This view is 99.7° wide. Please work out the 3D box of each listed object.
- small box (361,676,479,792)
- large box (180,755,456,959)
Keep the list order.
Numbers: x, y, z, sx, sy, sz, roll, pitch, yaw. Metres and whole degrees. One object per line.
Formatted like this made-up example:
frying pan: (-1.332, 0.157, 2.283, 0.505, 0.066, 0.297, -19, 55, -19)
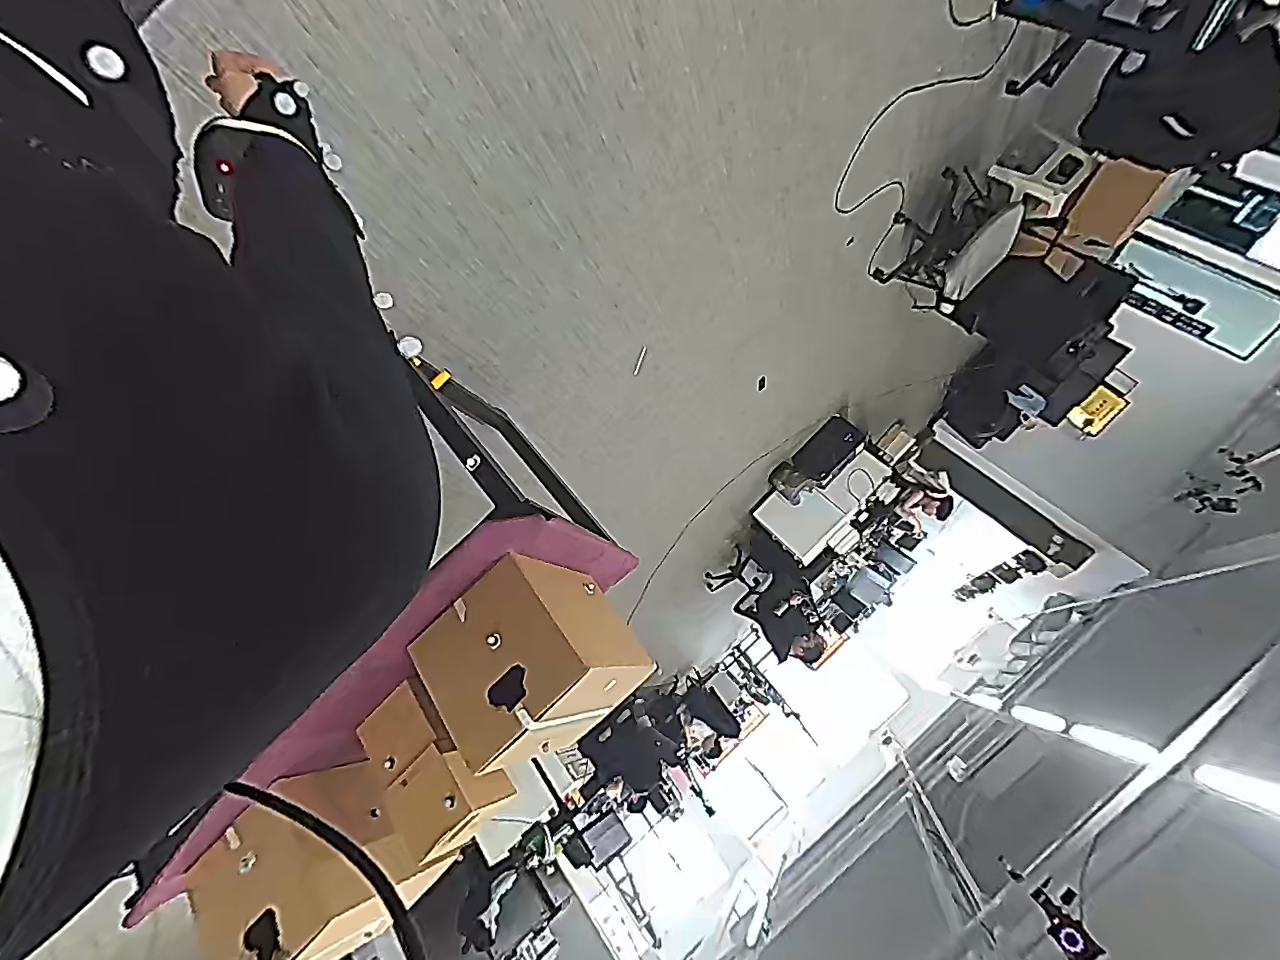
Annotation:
small box: (-0.524, 0.590, 1.278, 0.179, 0.176, 0.168, -45, 154, 3)
large box: (-0.736, 0.895, 1.273, 0.320, 0.320, 0.408, -45, 155, 2)
